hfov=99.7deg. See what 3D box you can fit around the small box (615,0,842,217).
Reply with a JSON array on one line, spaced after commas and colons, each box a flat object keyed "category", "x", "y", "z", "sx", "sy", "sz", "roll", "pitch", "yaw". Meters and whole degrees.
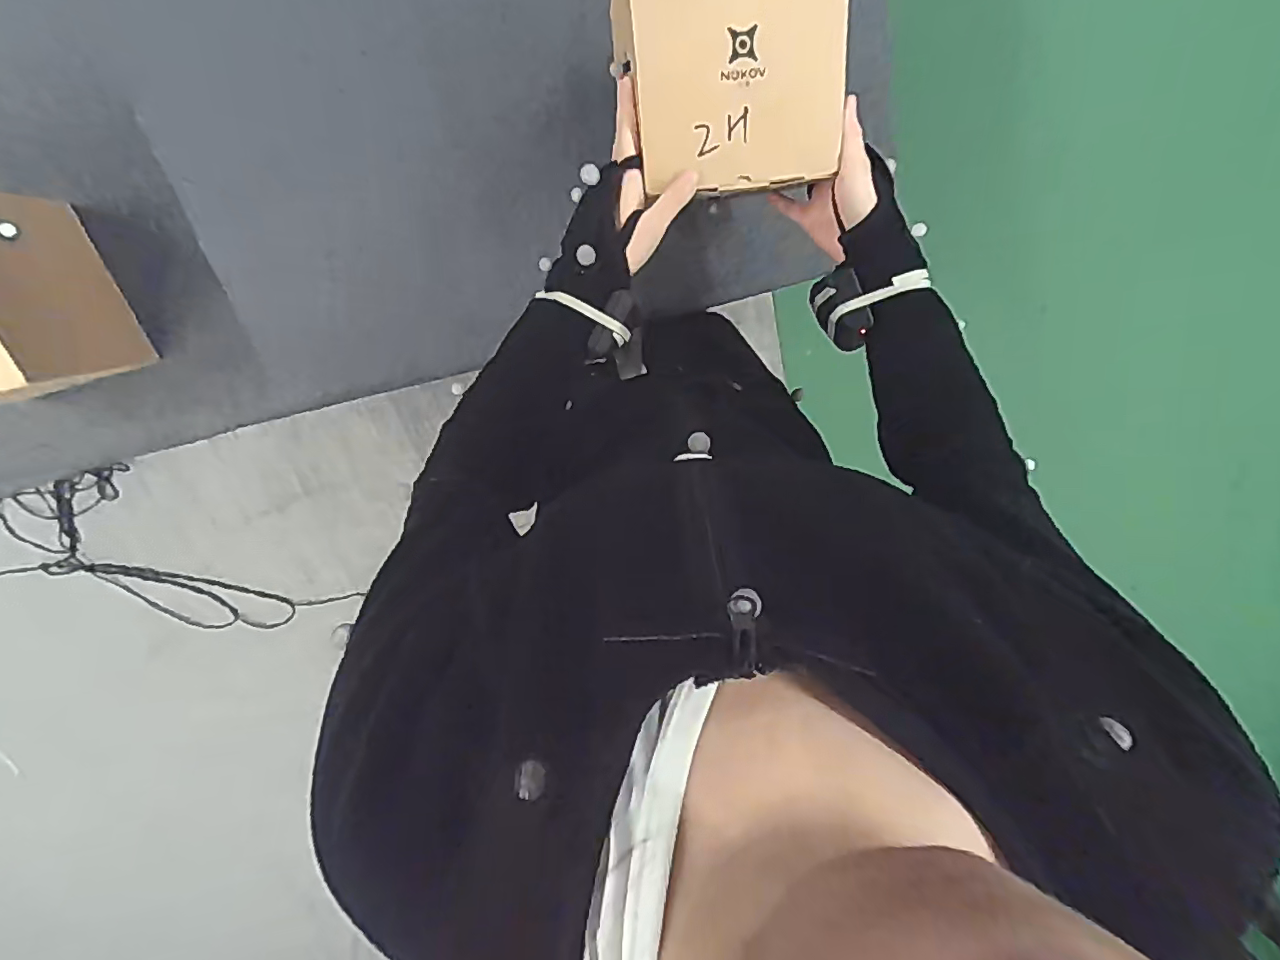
[{"category": "small box", "x": 0.070, "y": -0.352, "z": 0.496, "sx": 0.168, "sy": 0.176, "sz": 0.179, "roll": -8, "pitch": 113, "yaw": -1}]
